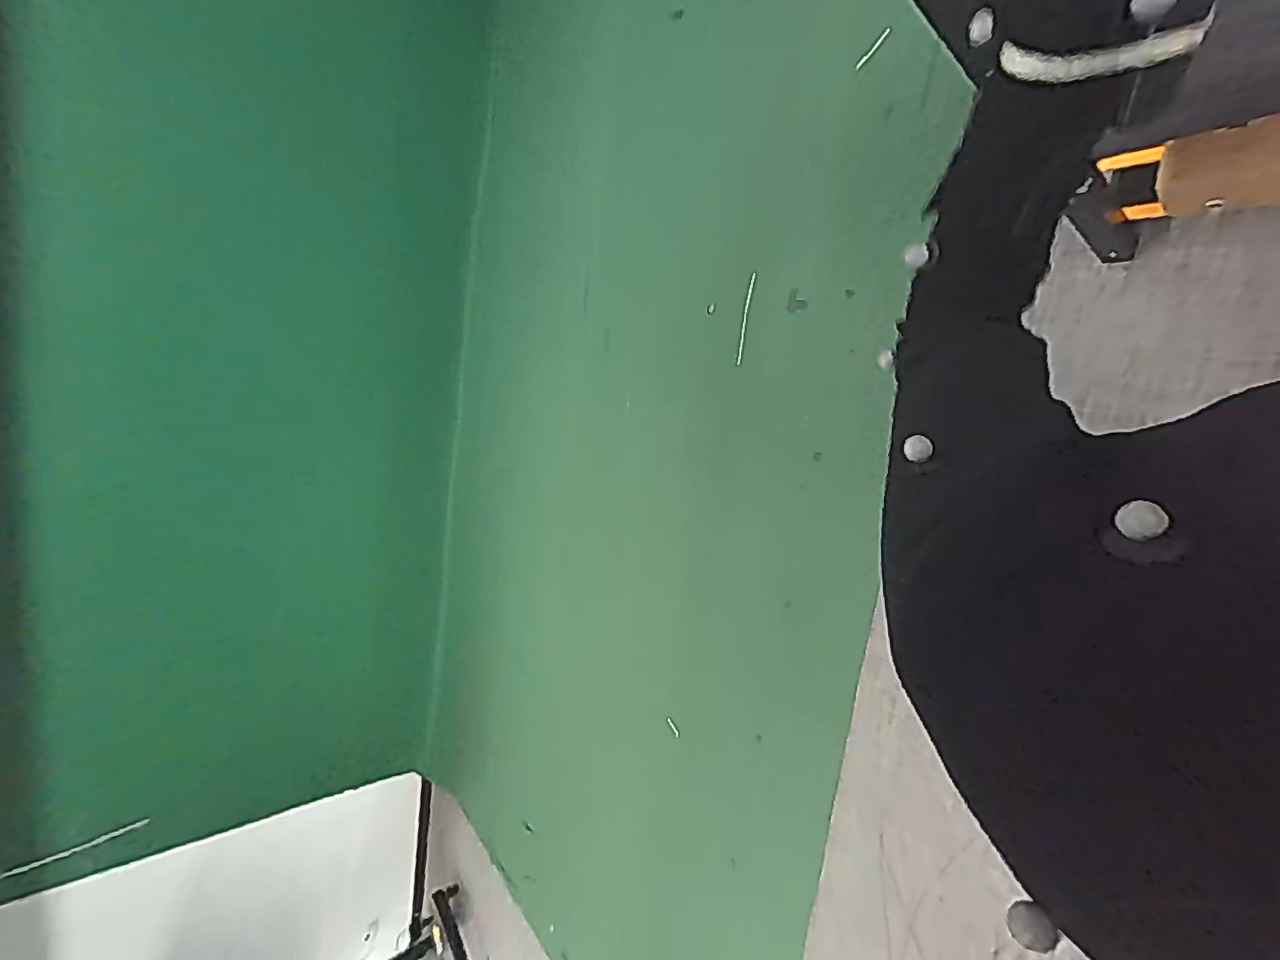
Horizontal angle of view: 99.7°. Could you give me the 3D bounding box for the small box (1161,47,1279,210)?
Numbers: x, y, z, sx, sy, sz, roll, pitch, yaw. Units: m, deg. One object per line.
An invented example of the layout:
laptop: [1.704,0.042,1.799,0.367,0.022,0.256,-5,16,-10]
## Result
small box: [1.010,-0.579,0.901,0.168,0.176,0.179,16,104,49]
